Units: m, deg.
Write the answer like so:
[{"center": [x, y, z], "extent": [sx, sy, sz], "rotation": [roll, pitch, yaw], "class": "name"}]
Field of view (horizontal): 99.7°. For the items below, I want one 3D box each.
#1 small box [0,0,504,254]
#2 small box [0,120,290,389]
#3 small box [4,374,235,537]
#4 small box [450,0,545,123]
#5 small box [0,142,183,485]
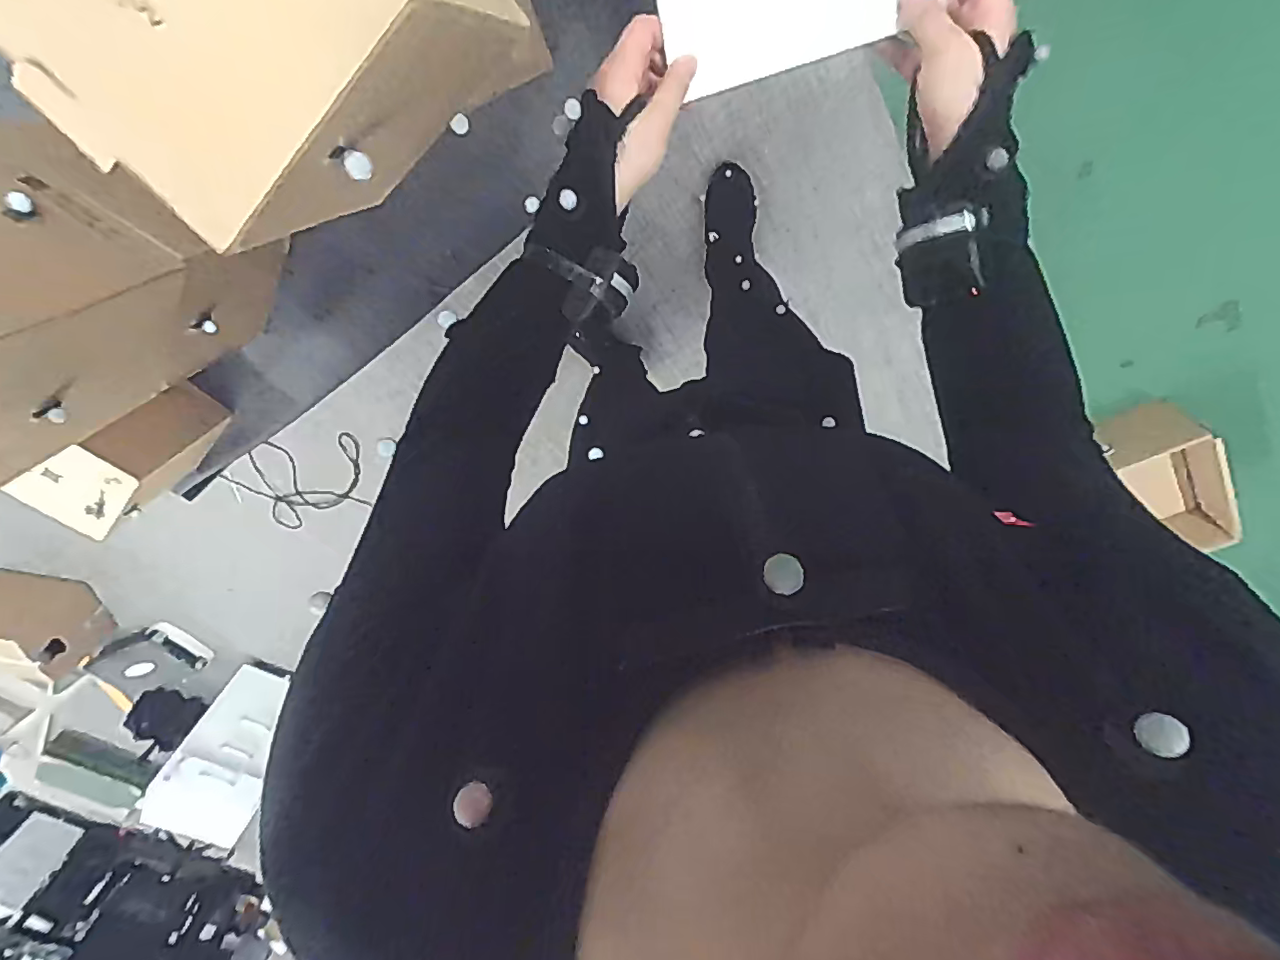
[{"center": [-0.196, -0.263, 0.290], "extent": [0.179, 0.176, 0.168], "rotation": [-29, 118, 27], "class": "small box"}, {"center": [-0.504, -0.236, 0.562], "extent": [0.168, 0.176, 0.179], "rotation": [33, 124, -18], "class": "small box"}, {"center": [-0.702, -0.064, 0.717], "extent": [0.168, 0.176, 0.179], "rotation": [-34, 116, 28], "class": "small box"}, {"center": [-0.195, -0.376, 0.410], "extent": [0.168, 0.176, 0.179], "rotation": [-13, 124, 18], "class": "small box"}, {"center": [-0.520, -0.134, 0.433], "extent": [0.168, 0.176, 0.179], "rotation": [35, 123, -19], "class": "small box"}]
